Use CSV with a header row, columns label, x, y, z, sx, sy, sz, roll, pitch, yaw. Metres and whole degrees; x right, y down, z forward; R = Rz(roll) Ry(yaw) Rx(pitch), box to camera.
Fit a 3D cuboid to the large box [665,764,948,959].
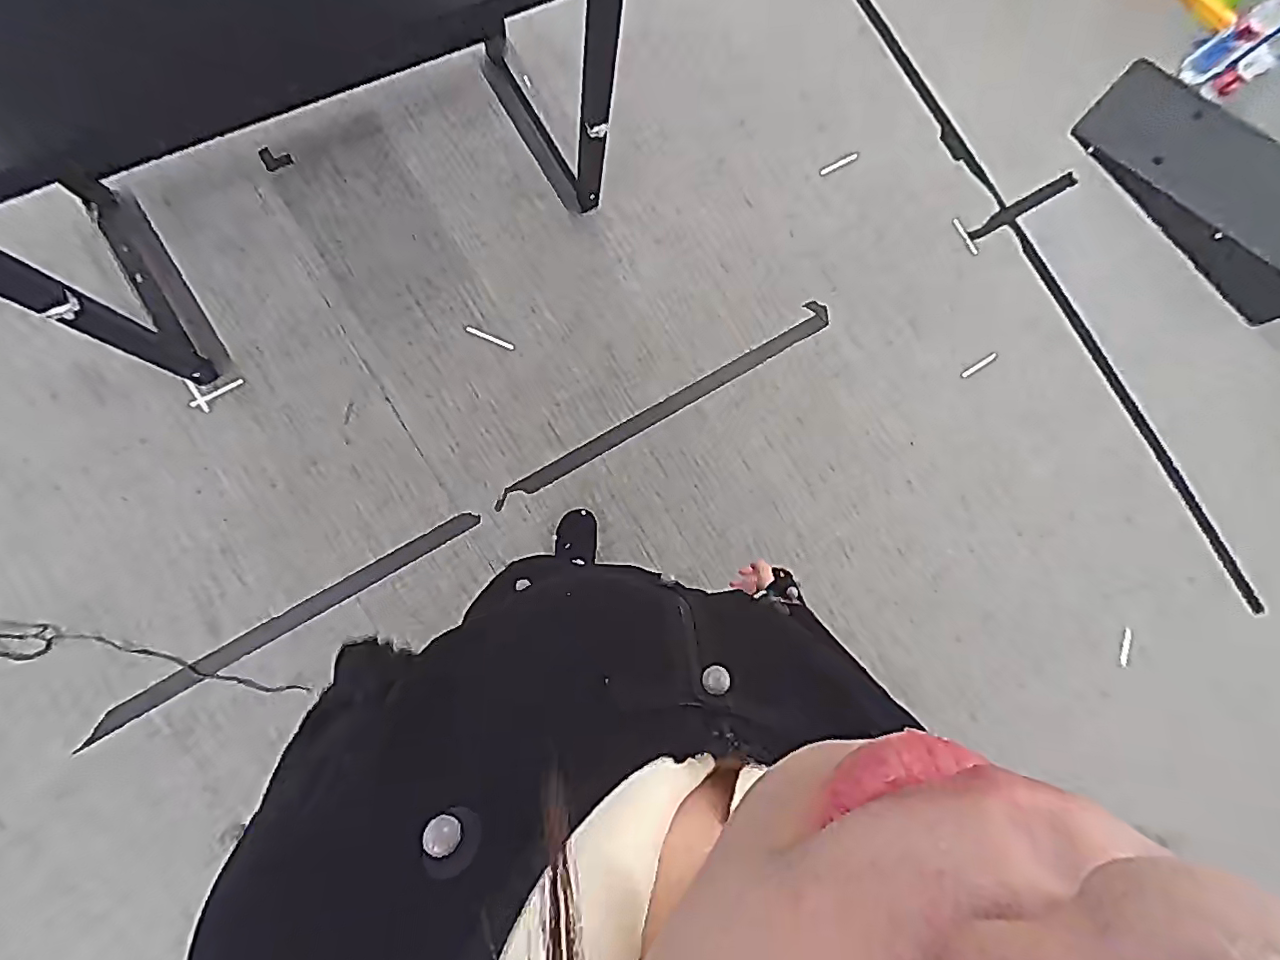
label,x,y,z,sx,sy,sz,roll,pitch,yaw
large box,0.320,0.901,1.135,0.408,0.320,0.320,-33,90,-13
